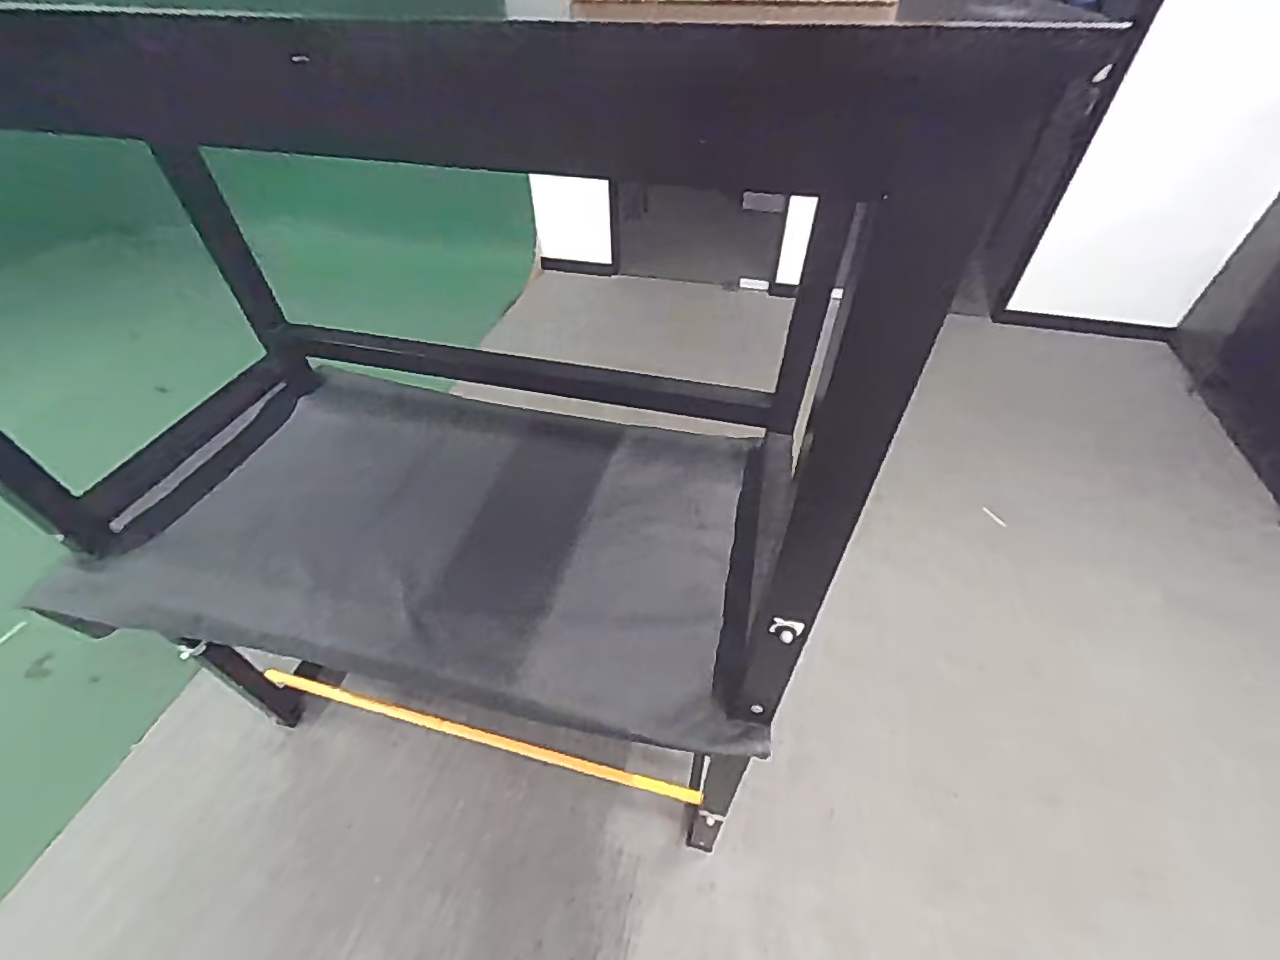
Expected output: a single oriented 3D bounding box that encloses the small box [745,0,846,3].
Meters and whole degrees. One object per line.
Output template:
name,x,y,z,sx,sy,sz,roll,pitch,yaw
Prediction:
small box,0.064,-0.358,0.274,0.168,0.176,0.179,12,46,12
